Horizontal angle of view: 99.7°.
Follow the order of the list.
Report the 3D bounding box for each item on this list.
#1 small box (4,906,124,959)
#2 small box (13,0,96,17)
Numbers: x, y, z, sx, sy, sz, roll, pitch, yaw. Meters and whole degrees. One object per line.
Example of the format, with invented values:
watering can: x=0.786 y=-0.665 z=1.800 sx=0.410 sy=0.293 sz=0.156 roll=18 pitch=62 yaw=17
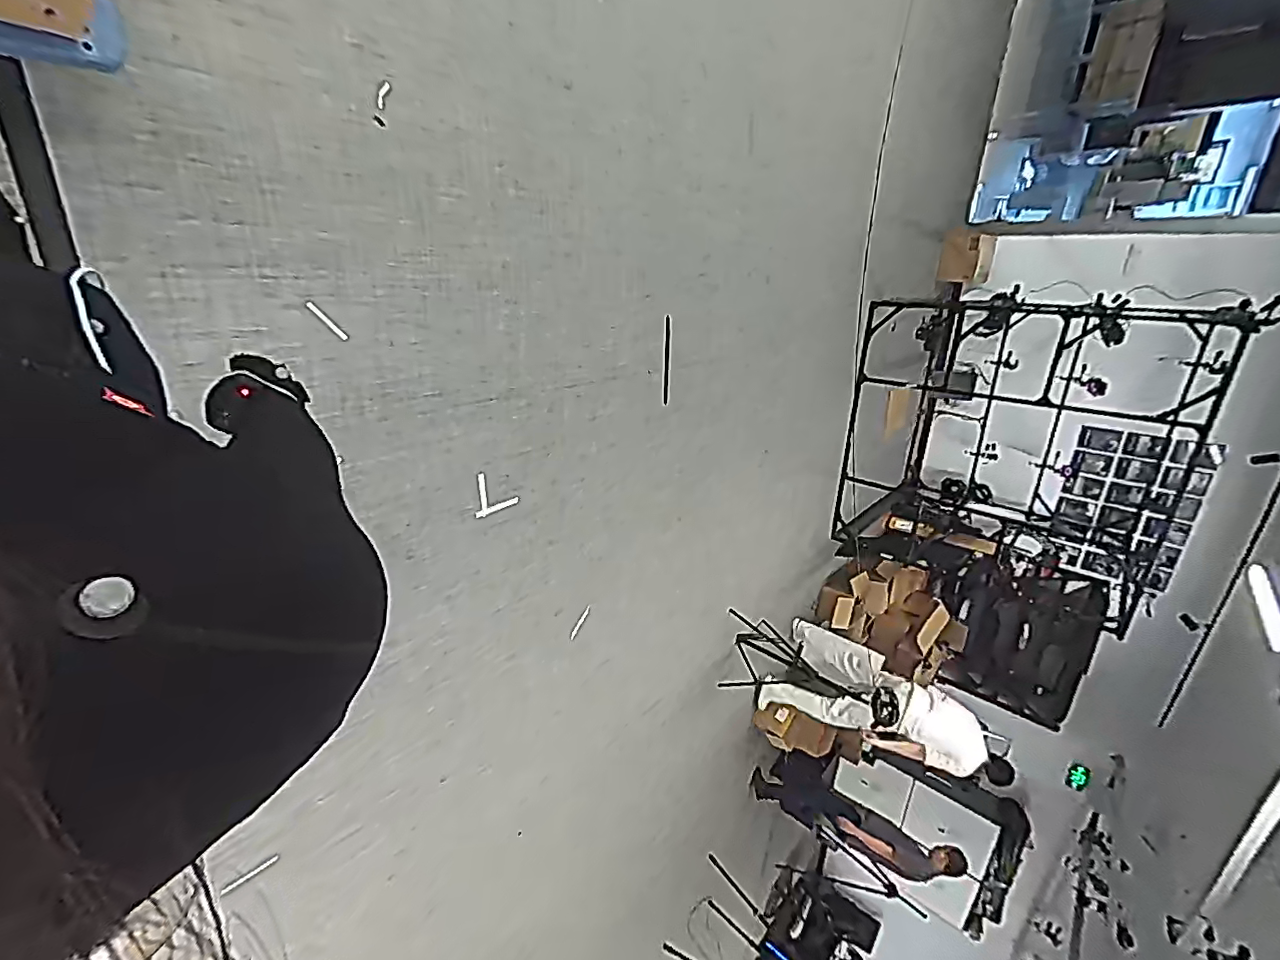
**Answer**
small box: x=-1.303 y=1.137 z=1.232 sx=0.168 sy=0.176 sz=0.179 roll=-21 pitch=119 yaw=-46
small box: x=-0.742 y=-0.671 z=0.603 sx=0.168 sy=0.176 sz=0.179 roll=-18 pitch=119 yaw=-46
